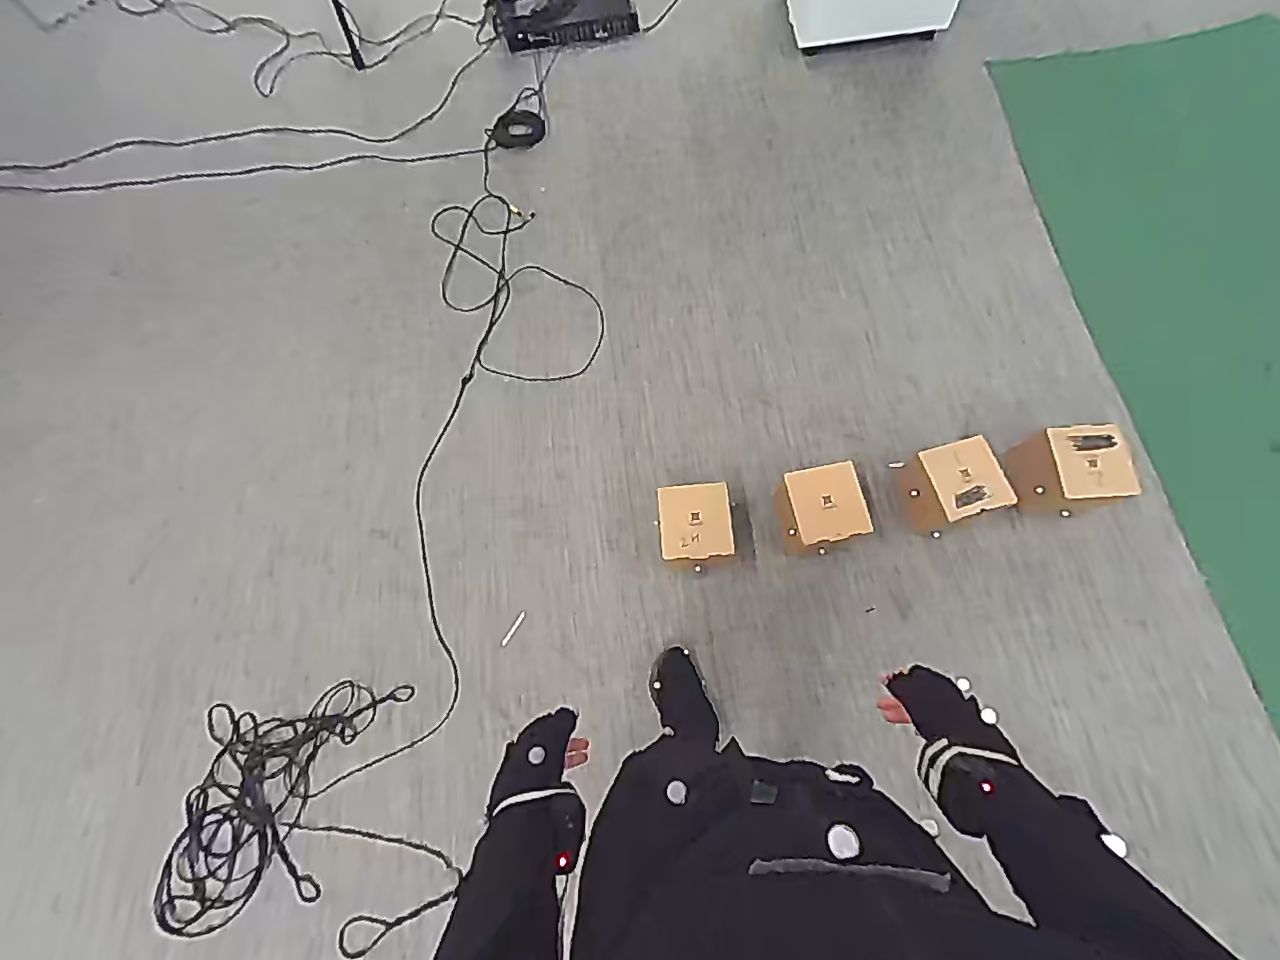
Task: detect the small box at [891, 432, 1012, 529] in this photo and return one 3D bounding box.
[{"bbox_3d":[0.745,0.010,1.314,0.168,0.176,0.179,-15,71,-2],"label":"small box"}]

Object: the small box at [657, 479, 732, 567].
[{"bbox_3d":[0.130,0.110,1.325,0.168,0.176,0.179,-5,72,4],"label":"small box"}]

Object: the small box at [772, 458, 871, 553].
[{"bbox_3d":[0.432,0.067,1.318,0.168,0.176,0.179,-12,72,1],"label":"small box"}]
